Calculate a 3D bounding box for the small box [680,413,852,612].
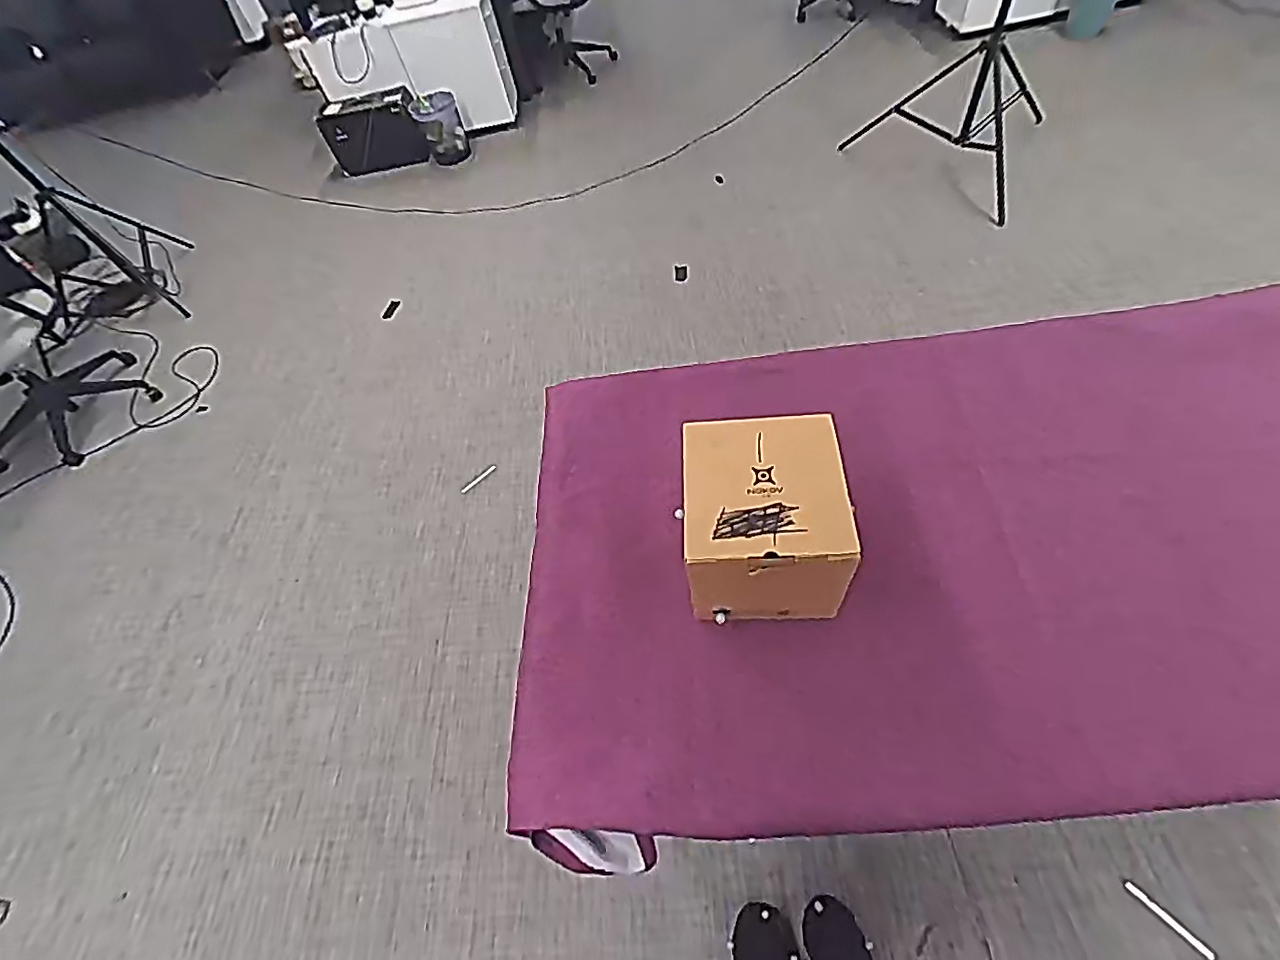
[{"bbox_3d":[0.136,0.046,0.628,0.168,0.176,0.179,-3,55,8],"label":"small box"}]
